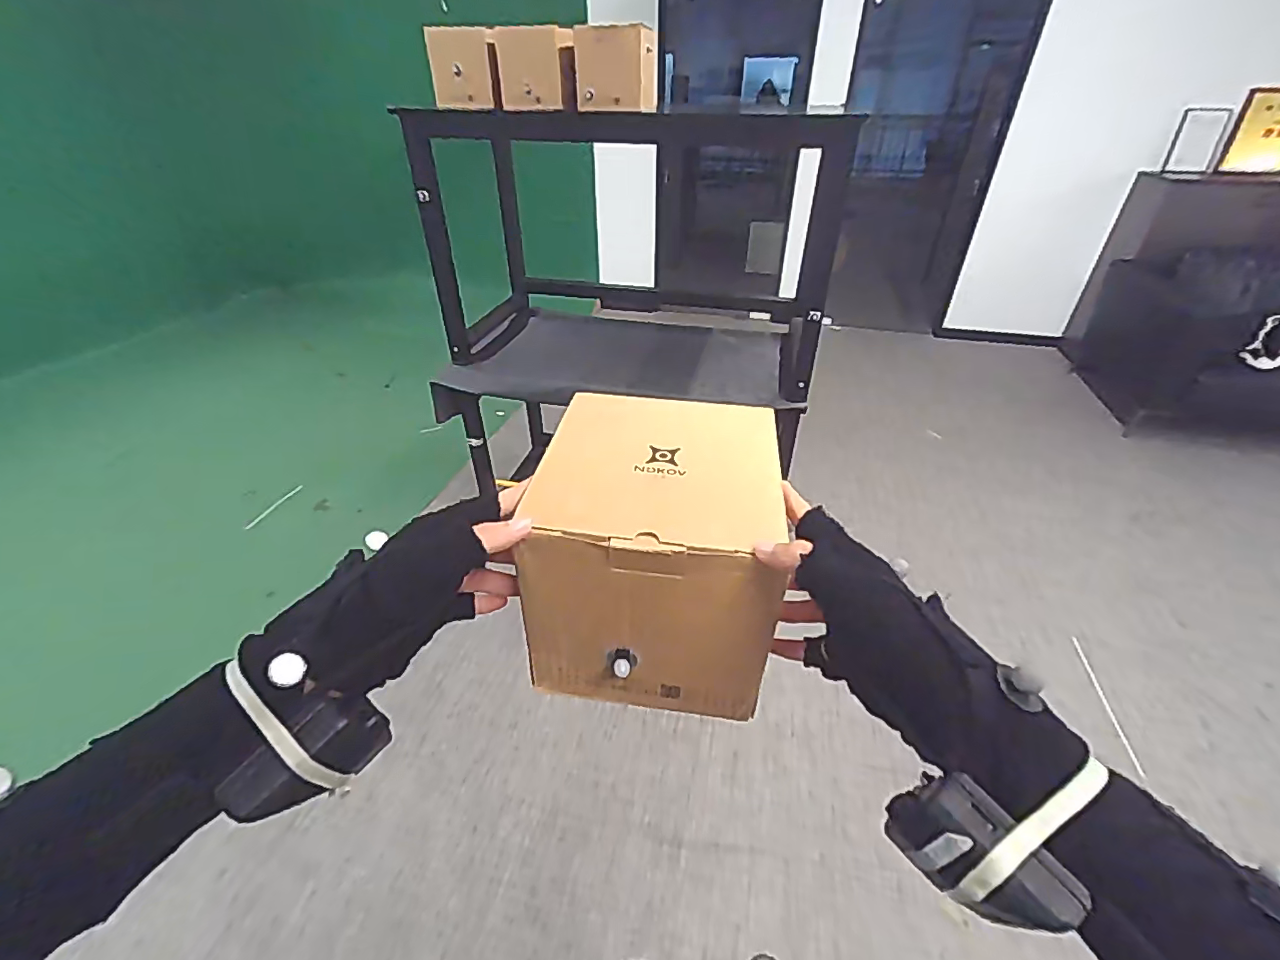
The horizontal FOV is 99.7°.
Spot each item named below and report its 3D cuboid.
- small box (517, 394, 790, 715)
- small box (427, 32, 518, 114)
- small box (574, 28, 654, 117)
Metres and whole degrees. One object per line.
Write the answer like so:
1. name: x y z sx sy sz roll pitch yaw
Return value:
1. small box: 0.014 0.051 0.428 0.168 0.176 0.179 5 37 5
2. small box: -0.440 -1.093 1.458 0.168 0.176 0.179 9 37 10
3. small box: -0.058 -1.025 1.368 0.168 0.176 0.179 7 36 9
